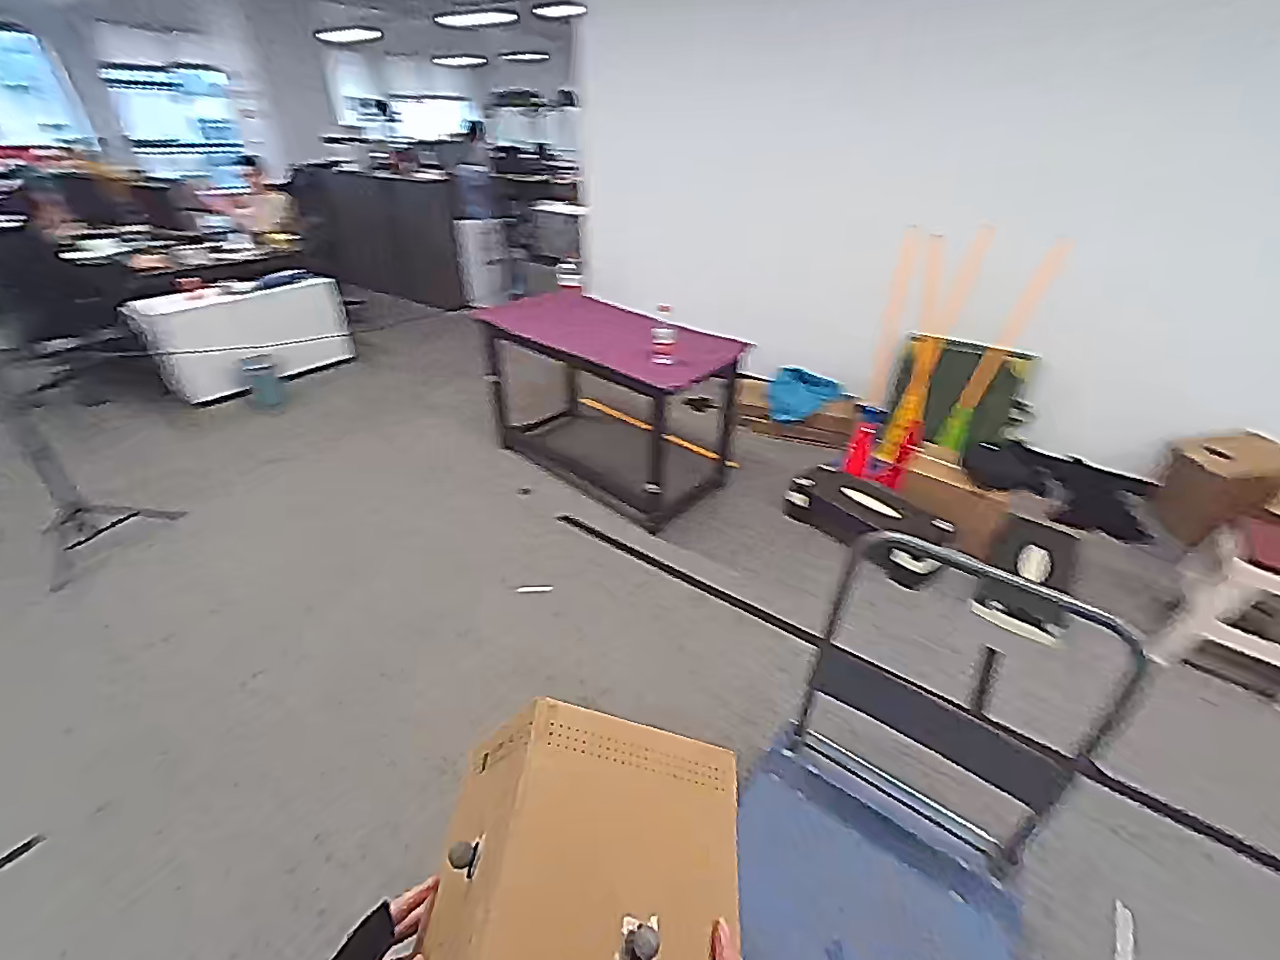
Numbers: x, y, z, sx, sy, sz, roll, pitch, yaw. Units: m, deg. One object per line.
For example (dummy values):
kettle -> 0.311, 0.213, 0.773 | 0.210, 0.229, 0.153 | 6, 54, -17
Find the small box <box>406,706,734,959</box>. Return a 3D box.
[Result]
small box -> -0.051, 0.286, 0.404 | 0.179, 0.168, 0.176 | 24, 44, -20
